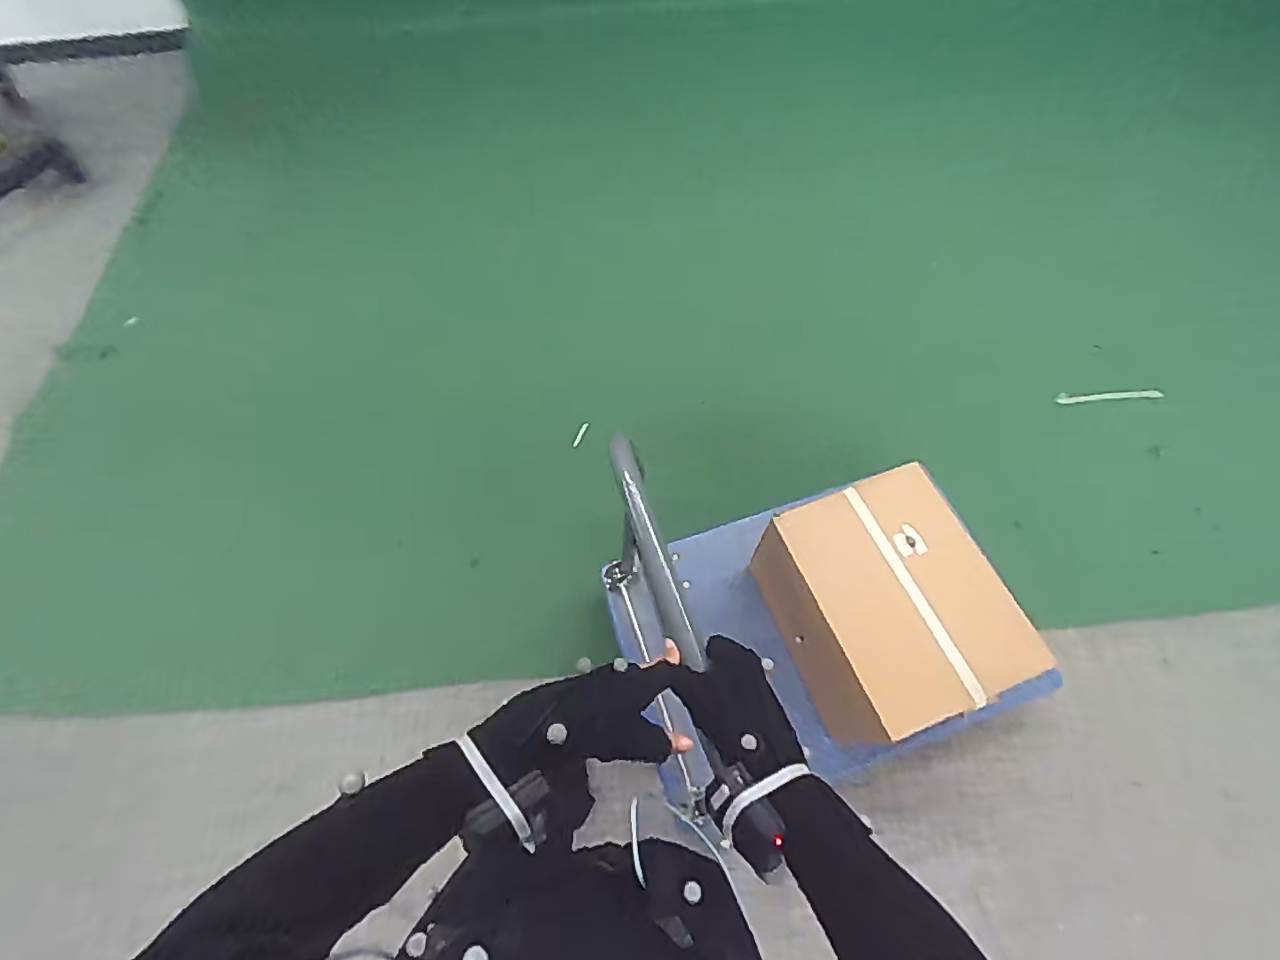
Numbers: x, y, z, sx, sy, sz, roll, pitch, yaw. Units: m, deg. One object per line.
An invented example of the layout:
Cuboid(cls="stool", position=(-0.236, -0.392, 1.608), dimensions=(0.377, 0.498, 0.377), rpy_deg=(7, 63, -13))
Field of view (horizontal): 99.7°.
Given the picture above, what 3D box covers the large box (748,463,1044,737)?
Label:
Cuboid(cls="large box", position=(0.457, 0.247, 1.080), dimensions=(0.320, 0.320, 0.408), rpy_deg=(-20, 64, -9))
